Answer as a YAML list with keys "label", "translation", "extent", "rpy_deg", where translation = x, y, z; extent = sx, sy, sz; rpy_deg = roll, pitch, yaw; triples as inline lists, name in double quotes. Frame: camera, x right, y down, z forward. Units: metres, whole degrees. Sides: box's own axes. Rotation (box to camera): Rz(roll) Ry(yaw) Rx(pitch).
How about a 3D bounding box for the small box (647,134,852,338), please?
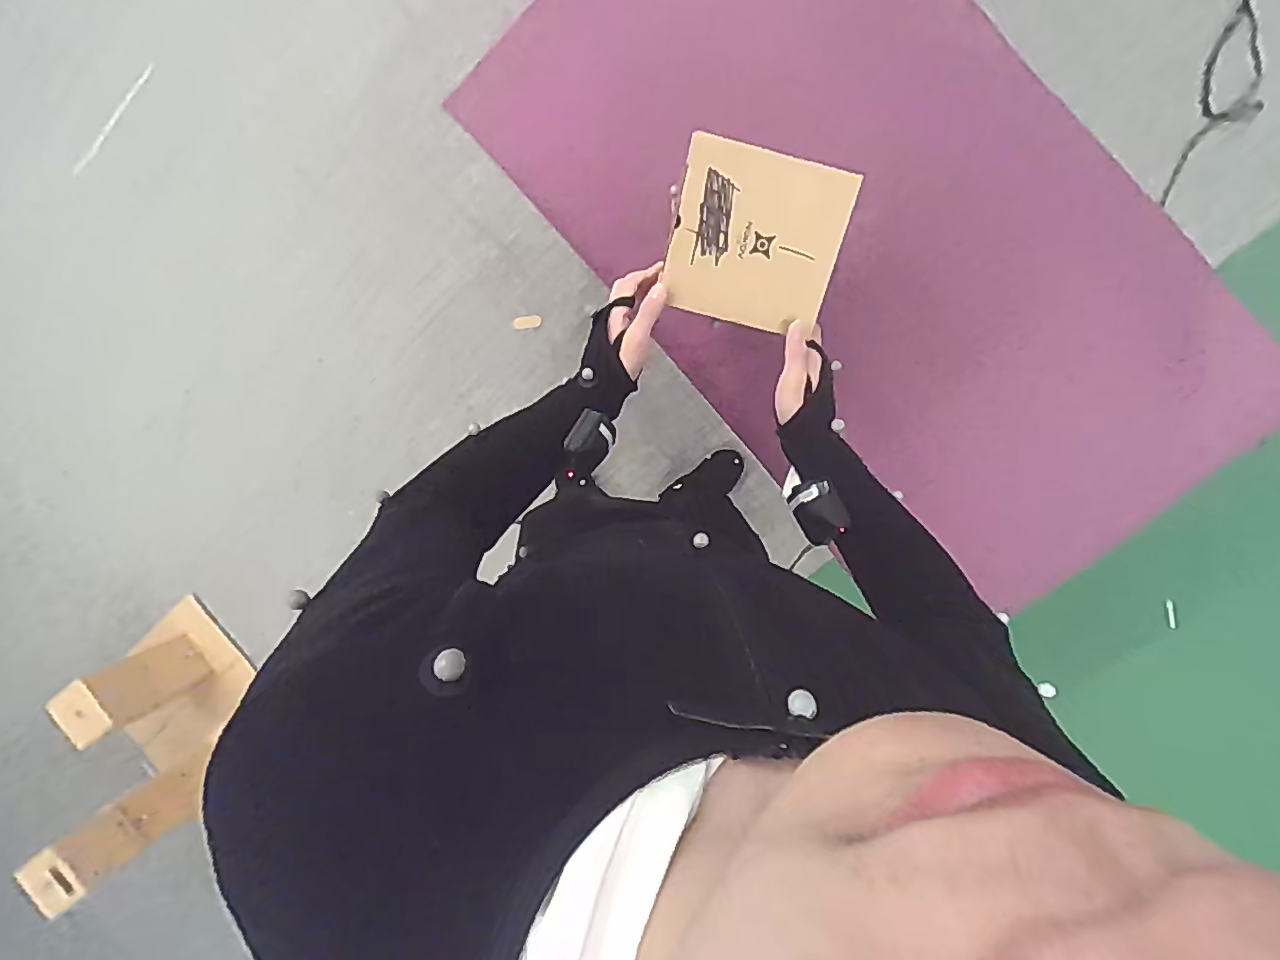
- label: "small box"
  translation: [0.111, -0.269, 0.633]
  extent: [0.179, 0.176, 0.168]
  rpy_deg: [13, 108, -3]

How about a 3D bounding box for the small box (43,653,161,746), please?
- label: "small box"
  translation: [-1.666, 0.678, 1.685]
  extent: [0.168, 0.176, 0.179]
  rpy_deg: [-34, 92, 10]

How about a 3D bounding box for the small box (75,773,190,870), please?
- label: "small box"
  translation: [-1.613, 1.077, 1.727]
  extent: [0.168, 0.176, 0.179]
  rpy_deg: [-38, 91, 10]

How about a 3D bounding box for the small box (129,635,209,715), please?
- label: "small box"
  translation: [-1.643, 0.655, 1.846]
  extent: [0.168, 0.176, 0.179]
  rpy_deg: [-37, 91, 11]

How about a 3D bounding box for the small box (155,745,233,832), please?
- label: "small box"
  translation: [-1.587, 1.063, 1.886]
  extent: [0.168, 0.176, 0.179]
  rpy_deg: [-38, 91, 11]
